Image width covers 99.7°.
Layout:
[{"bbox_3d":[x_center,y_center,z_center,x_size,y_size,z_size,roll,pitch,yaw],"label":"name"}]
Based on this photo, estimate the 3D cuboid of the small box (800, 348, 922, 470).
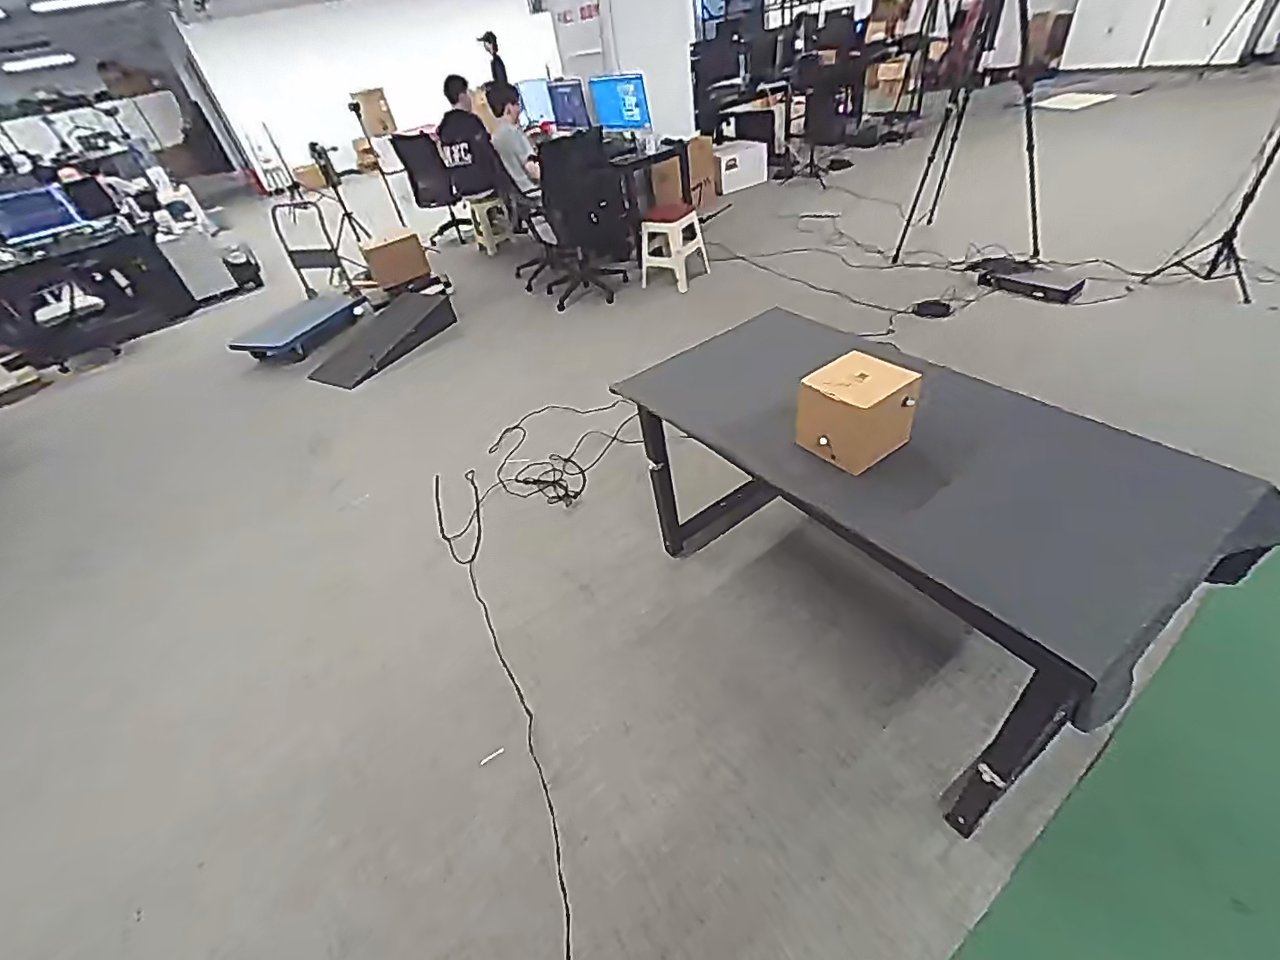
[{"bbox_3d":[0.460,-0.152,1.154,0.179,0.176,0.168,-29,44,-21],"label":"small box"}]
